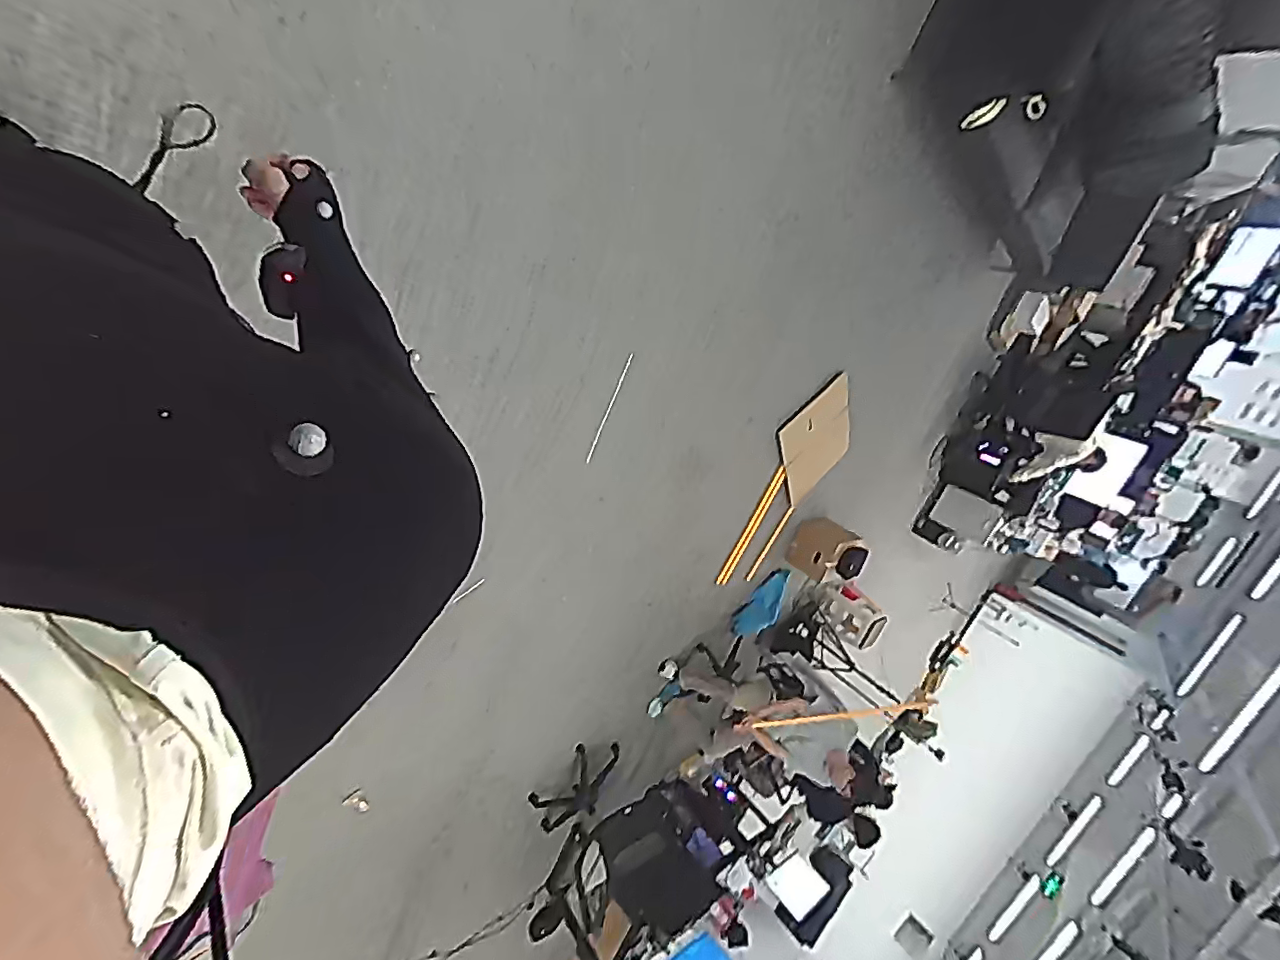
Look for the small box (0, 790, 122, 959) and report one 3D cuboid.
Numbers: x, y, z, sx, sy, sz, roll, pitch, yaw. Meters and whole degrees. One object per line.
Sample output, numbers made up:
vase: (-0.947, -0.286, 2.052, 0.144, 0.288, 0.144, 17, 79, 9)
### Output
small box: (-0.885, 0.607, 0.796, 0.168, 0.176, 0.179, 4, 113, -45)
